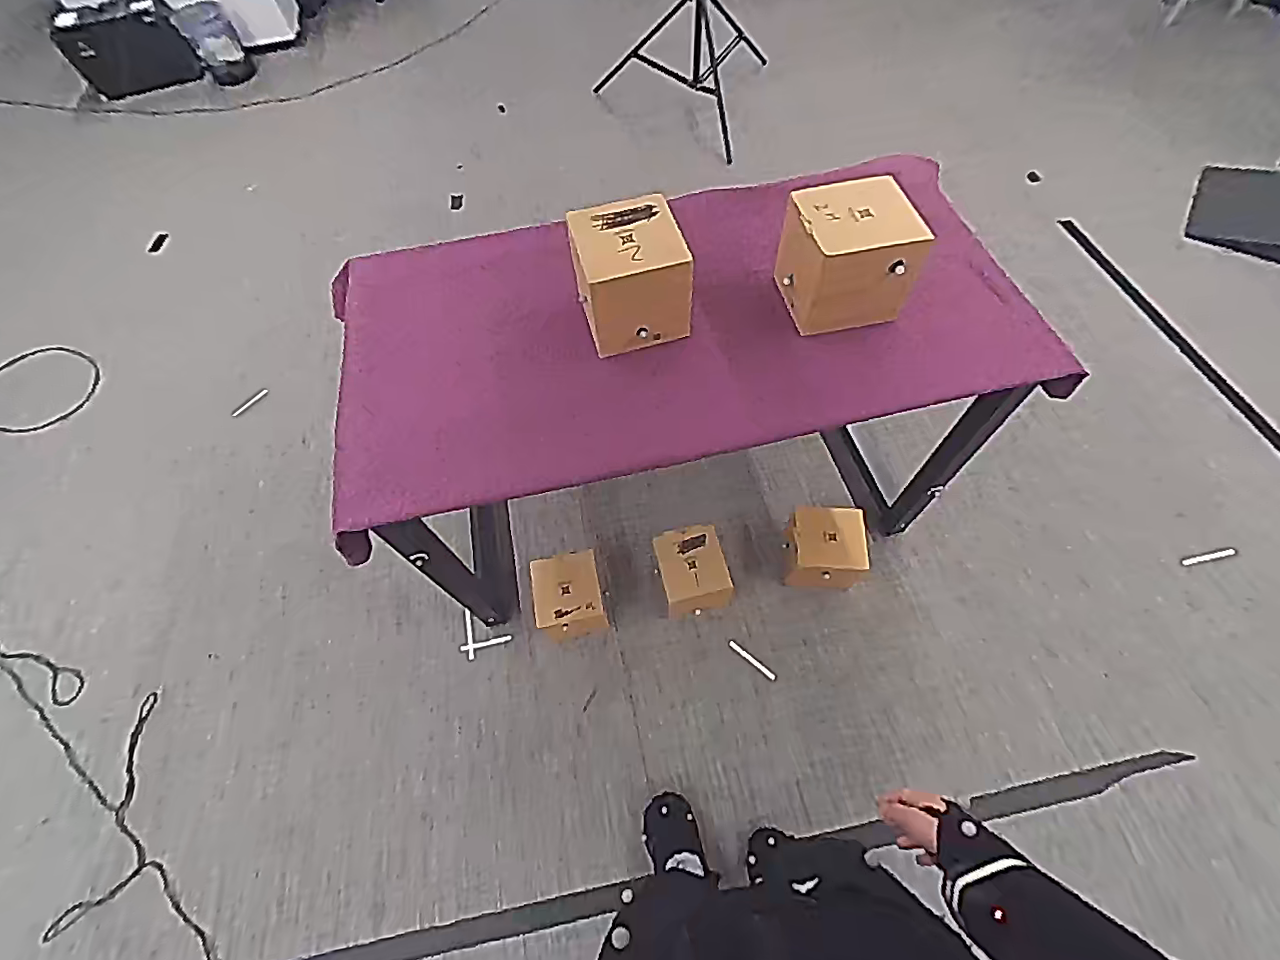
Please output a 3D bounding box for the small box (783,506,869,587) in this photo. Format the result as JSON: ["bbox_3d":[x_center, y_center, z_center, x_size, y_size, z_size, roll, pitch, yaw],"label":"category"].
[{"bbox_3d":[0.485,0.180,1.433,0.179,0.176,0.168,2,62,6],"label":"small box"}]

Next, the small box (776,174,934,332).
[{"bbox_3d":[0.347,-0.376,0.912,0.179,0.176,0.168,-11,60,-2],"label":"small box"}]

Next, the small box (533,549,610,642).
[{"bbox_3d":[-0.177,0.303,1.404,0.168,0.176,0.179,-11,60,-2],"label":"small box"}]

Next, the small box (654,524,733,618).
[{"bbox_3d":[0.134,0.242,1.418,0.168,0.176,0.179,-13,62,-3],"label":"small box"}]
